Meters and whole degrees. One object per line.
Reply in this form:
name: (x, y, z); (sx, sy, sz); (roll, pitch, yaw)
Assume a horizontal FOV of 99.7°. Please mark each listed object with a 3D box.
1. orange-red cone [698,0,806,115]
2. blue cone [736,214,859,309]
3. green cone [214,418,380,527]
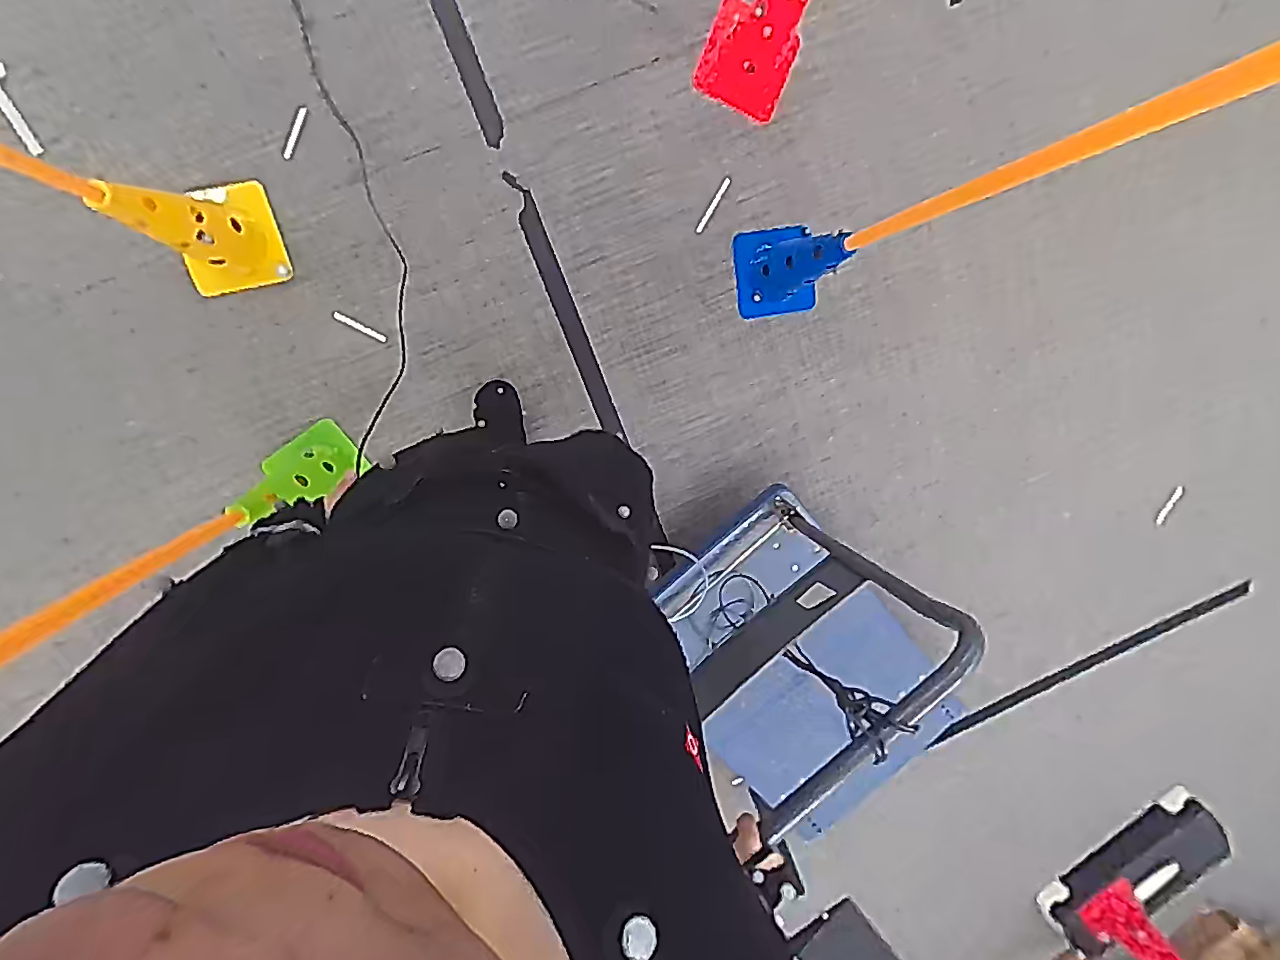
orange-red cone: (0.267, -0.902, 1.026); (0.198, 0.360, 0.199); (22, 100, -12)
blue cone: (0.352, -0.484, 1.147); (0.193, 0.380, 0.192); (-8, 103, -6)
green cone: (-0.715, 0.020, 1.084); (0.200, 0.368, 0.202); (-36, 104, 0)
